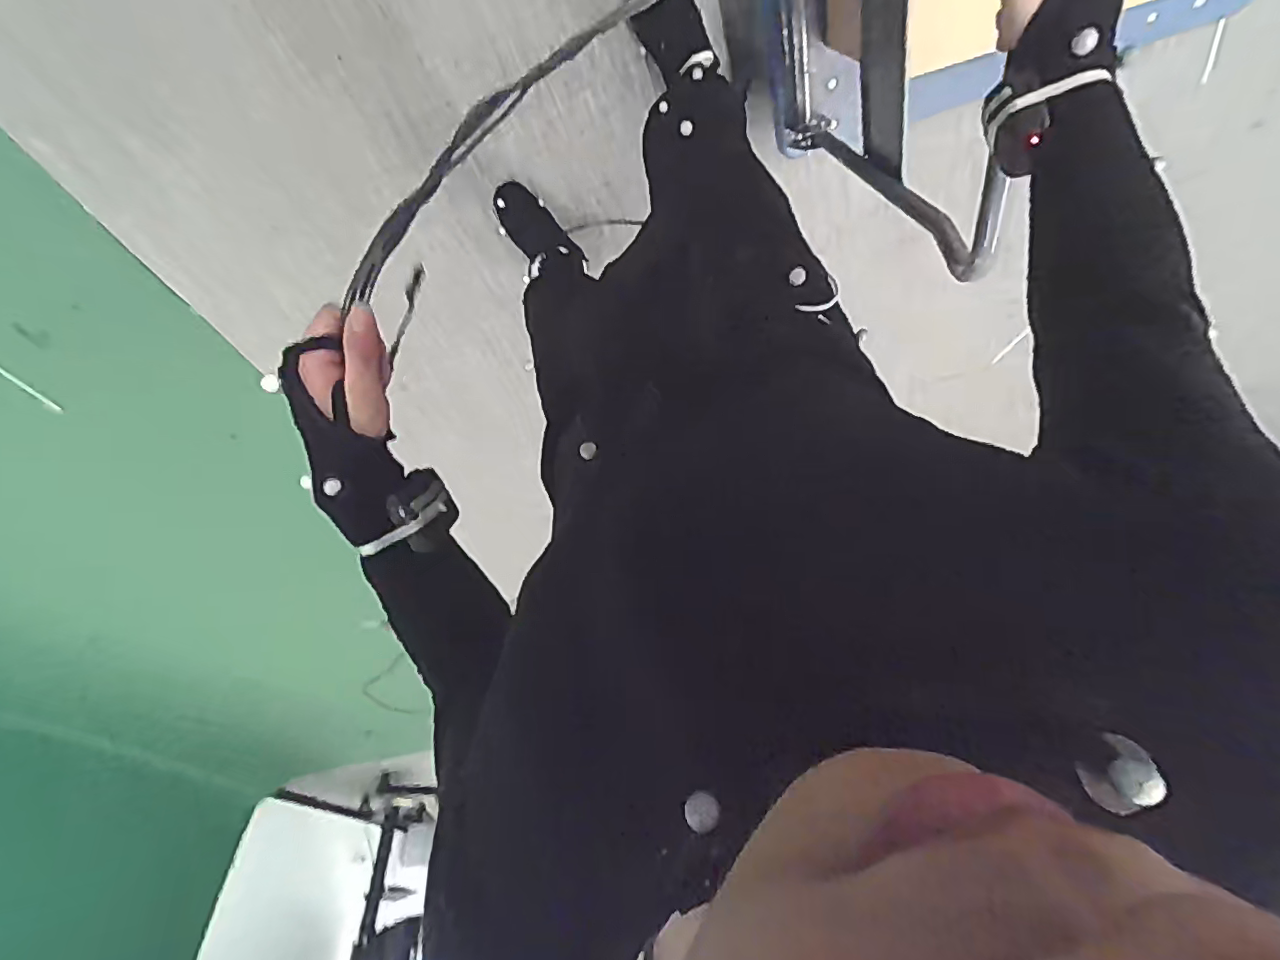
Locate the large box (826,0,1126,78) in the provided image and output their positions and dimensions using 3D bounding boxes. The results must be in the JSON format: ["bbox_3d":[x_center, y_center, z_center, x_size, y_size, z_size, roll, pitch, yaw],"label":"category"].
[{"bbox_3d":[0.503,-0.839,0.759,0.408,0.320,0.320,-14,137,7],"label":"large box"}]
